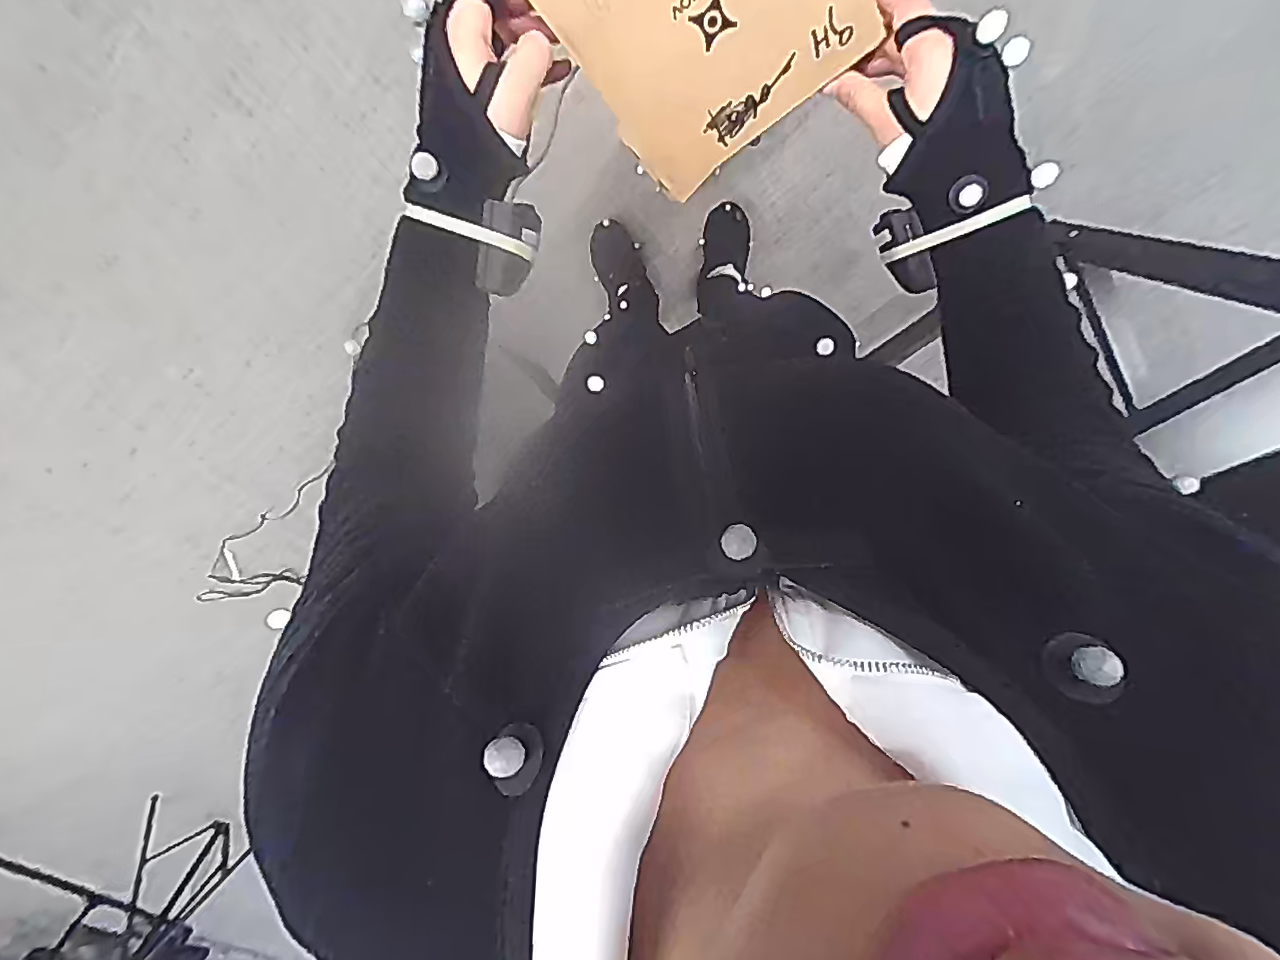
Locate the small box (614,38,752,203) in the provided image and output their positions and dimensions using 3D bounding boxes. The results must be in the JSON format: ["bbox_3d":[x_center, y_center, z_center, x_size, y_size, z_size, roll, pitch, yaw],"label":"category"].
[{"bbox_3d":[0.073,-0.634,0.975,0.168,0.176,0.179,39,113,-21],"label":"small box"}]
